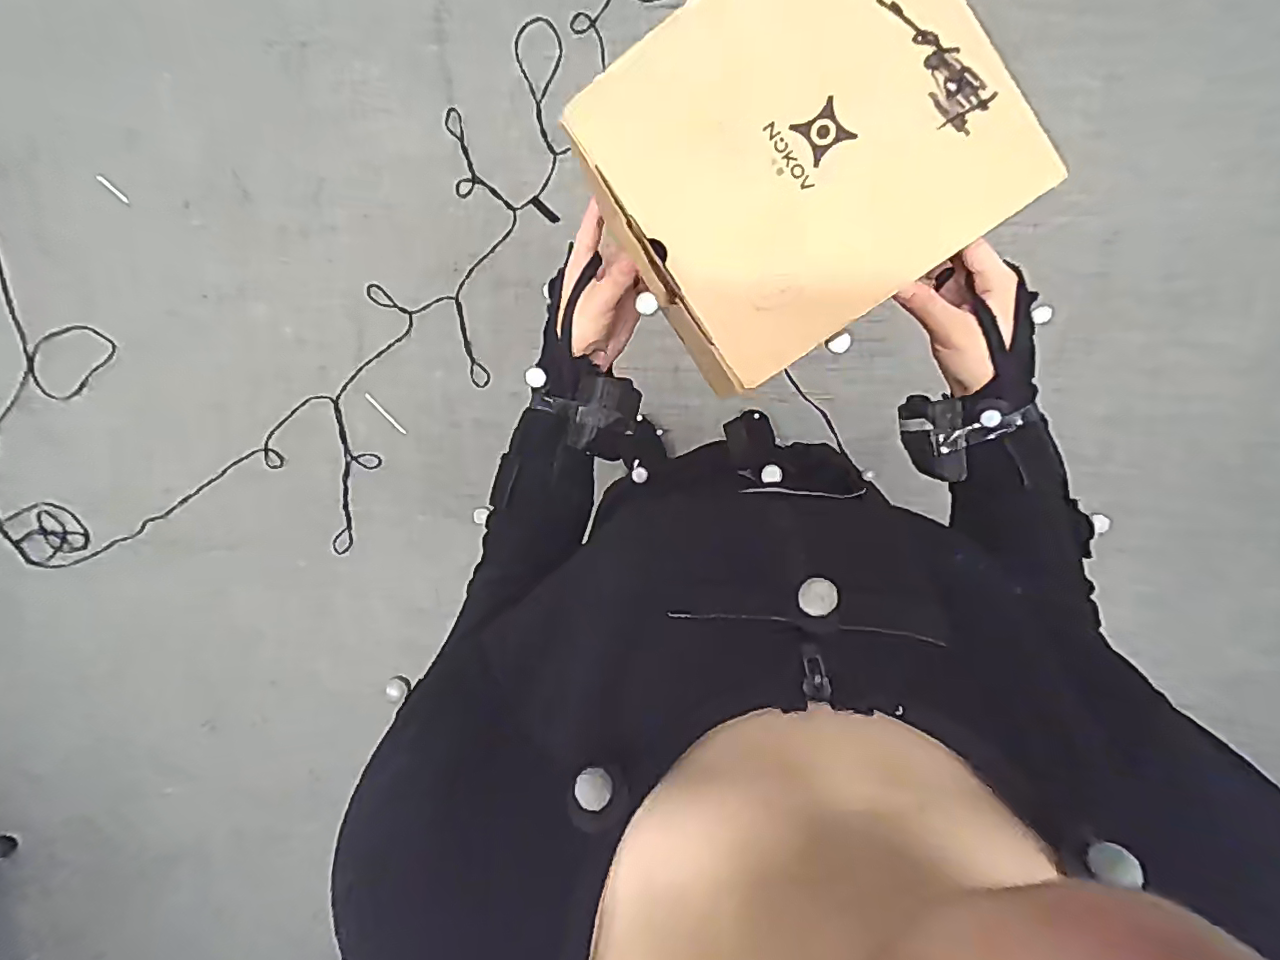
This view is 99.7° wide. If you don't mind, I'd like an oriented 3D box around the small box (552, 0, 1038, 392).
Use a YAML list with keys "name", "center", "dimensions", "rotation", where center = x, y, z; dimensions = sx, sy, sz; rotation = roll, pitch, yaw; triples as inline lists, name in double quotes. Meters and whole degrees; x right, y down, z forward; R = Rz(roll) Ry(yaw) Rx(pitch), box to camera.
- name: "small box"
  center: [0.079, -0.166, 0.337]
  dimensions: [0.179, 0.176, 0.168]
  rotation: [-34, 93, 9]
